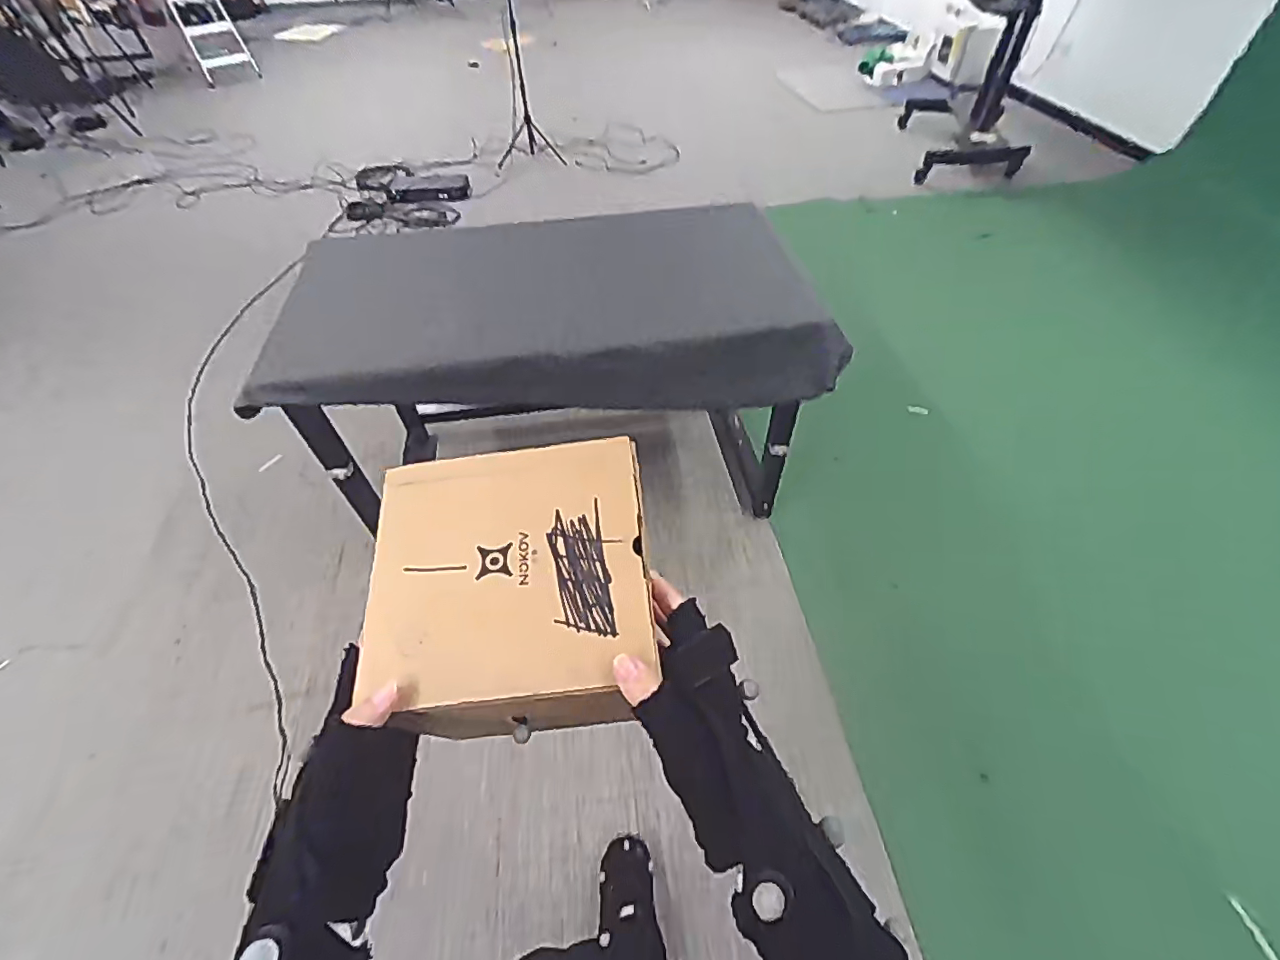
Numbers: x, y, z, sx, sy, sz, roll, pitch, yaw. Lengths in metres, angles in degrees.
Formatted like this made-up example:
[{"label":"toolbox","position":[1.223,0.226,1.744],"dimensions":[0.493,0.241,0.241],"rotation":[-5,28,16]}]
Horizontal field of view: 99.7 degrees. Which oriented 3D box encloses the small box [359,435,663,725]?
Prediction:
[{"label":"small box","position":[-0.077,0.086,0.414],"dimensions":[0.179,0.176,0.168],"rotation":[-7,60,1]}]
